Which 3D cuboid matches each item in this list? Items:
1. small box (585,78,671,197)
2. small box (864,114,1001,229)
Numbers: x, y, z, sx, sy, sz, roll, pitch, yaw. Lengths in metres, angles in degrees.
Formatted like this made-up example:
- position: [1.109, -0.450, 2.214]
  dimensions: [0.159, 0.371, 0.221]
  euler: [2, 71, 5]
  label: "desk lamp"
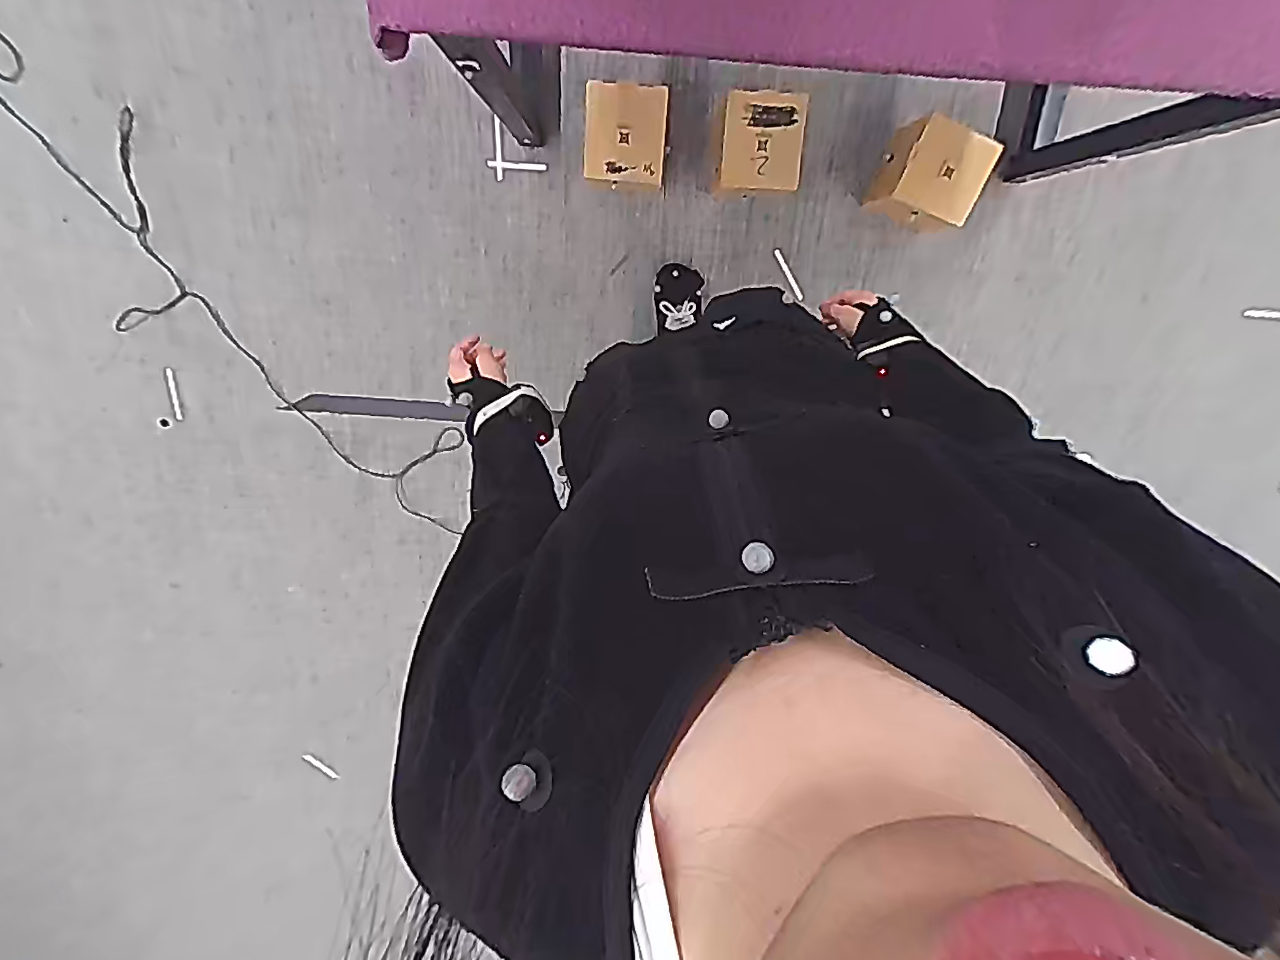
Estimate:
- position: [-0.030, -0.732, 1.174]
  dimensions: [0.168, 0.176, 0.179]
  euler: [4, 109, -3]
  label: "small box"
- position: [0.640, -0.675, 1.208]
  dimensions: [0.179, 0.176, 0.168]
  euler: [19, 110, -7]
  label: "small box"
